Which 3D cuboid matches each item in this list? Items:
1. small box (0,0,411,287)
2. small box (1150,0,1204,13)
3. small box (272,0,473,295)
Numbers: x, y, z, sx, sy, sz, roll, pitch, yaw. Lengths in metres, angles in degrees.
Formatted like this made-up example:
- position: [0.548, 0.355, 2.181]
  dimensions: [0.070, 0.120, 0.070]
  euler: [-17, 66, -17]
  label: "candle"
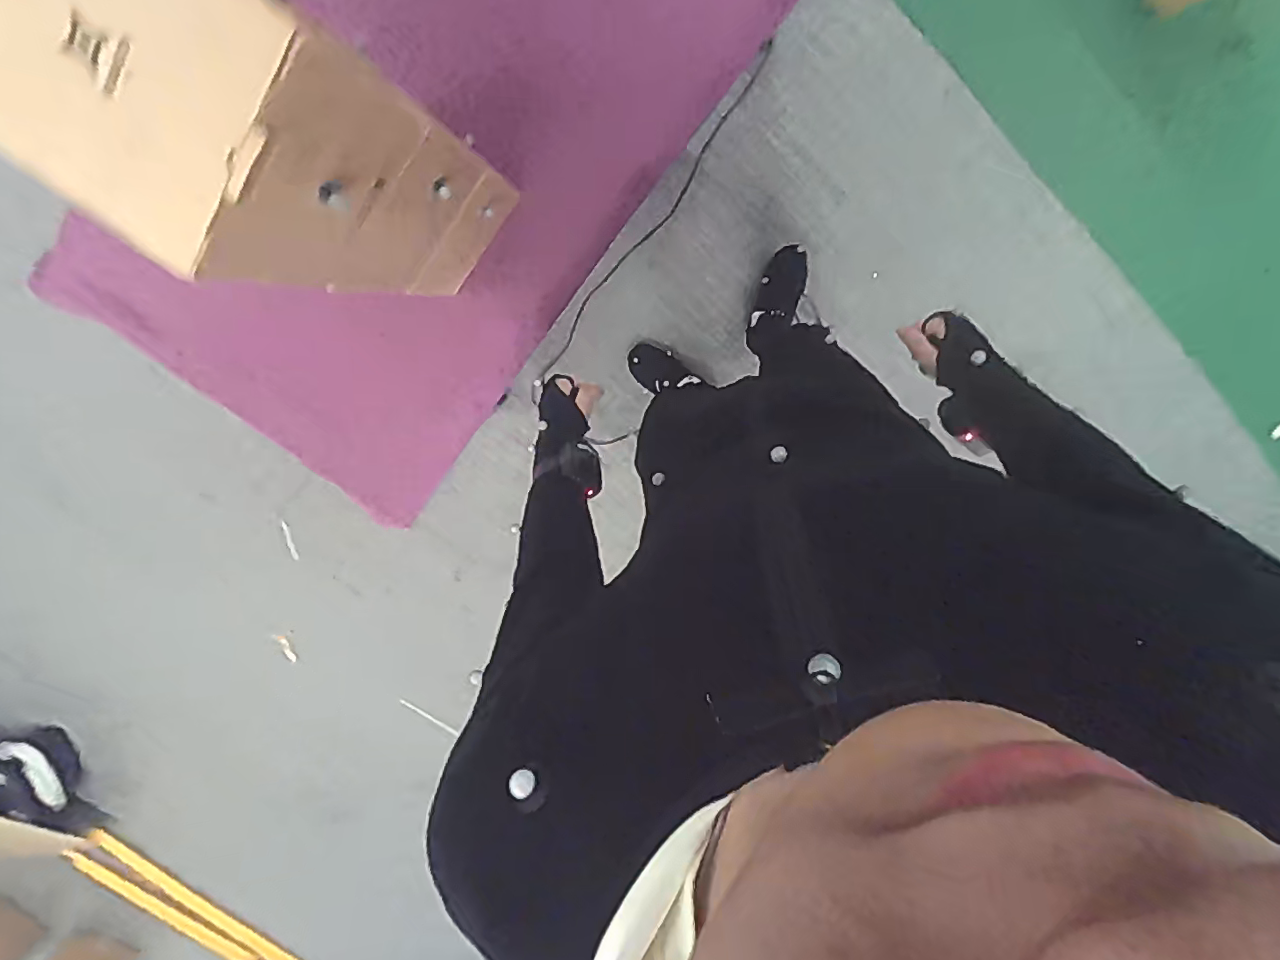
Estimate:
- position: [-0.301, -0.260, 0.384]
  dimensions: [0.179, 0.176, 0.168]
  euler: [37, 105, -10]
  label: "small box"
- position: [1.205, -1.145, 1.139]
  dimensions: [0.179, 0.176, 0.168]
  euler: [39, 106, -11]
  label: "small box"
- position: [-0.290, -0.308, 0.539]
  dimensions: [0.168, 0.176, 0.179]
  euler: [38, 106, -10]
  label: "small box"
